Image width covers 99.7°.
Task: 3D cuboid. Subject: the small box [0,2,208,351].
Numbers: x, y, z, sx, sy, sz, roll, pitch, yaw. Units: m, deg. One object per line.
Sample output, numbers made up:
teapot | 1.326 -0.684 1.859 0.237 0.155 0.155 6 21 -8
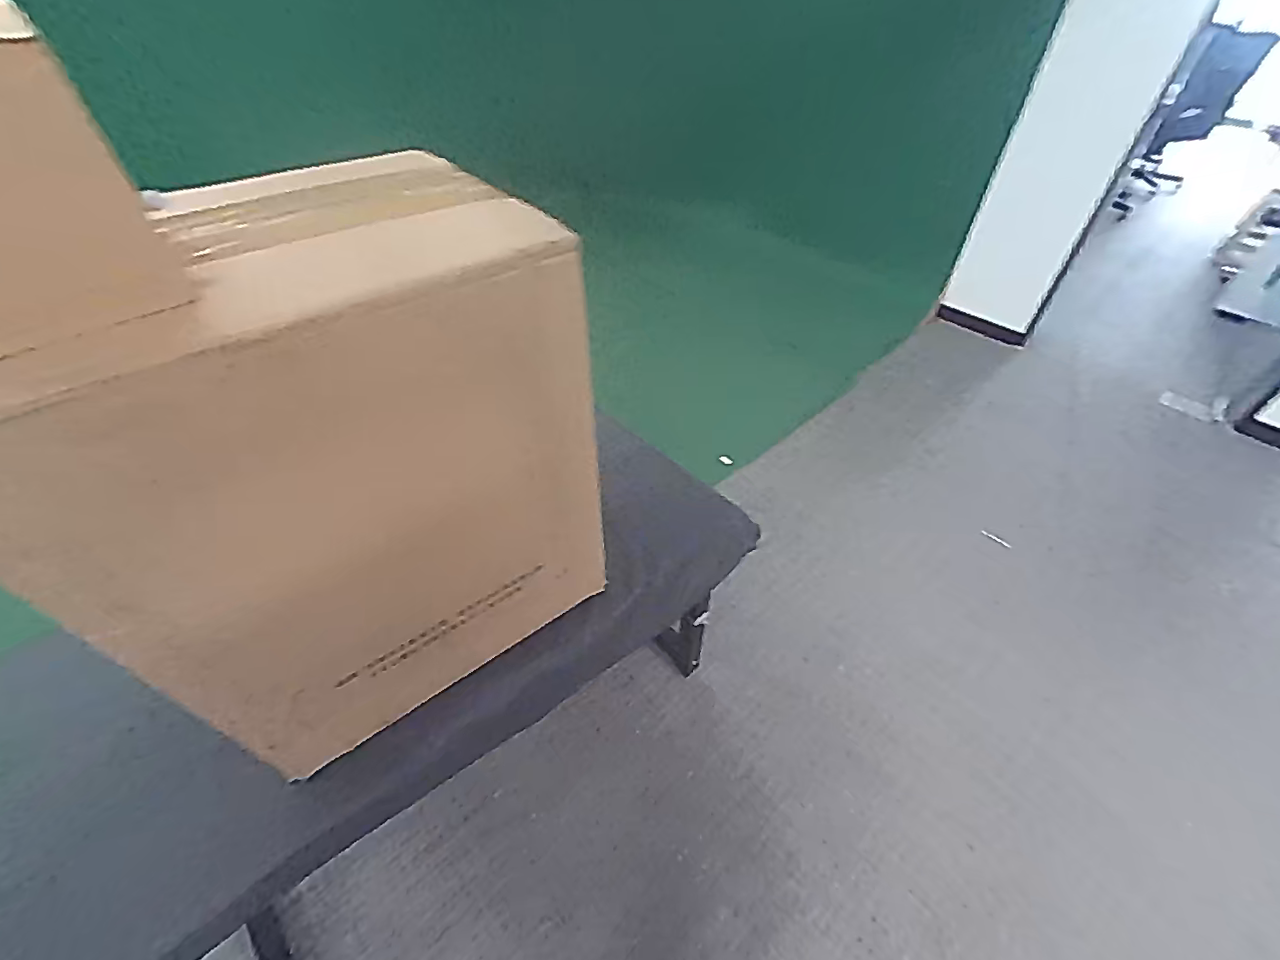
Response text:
small box | -0.464 -0.211 0.386 0.179 0.176 0.168 -29 57 -24
